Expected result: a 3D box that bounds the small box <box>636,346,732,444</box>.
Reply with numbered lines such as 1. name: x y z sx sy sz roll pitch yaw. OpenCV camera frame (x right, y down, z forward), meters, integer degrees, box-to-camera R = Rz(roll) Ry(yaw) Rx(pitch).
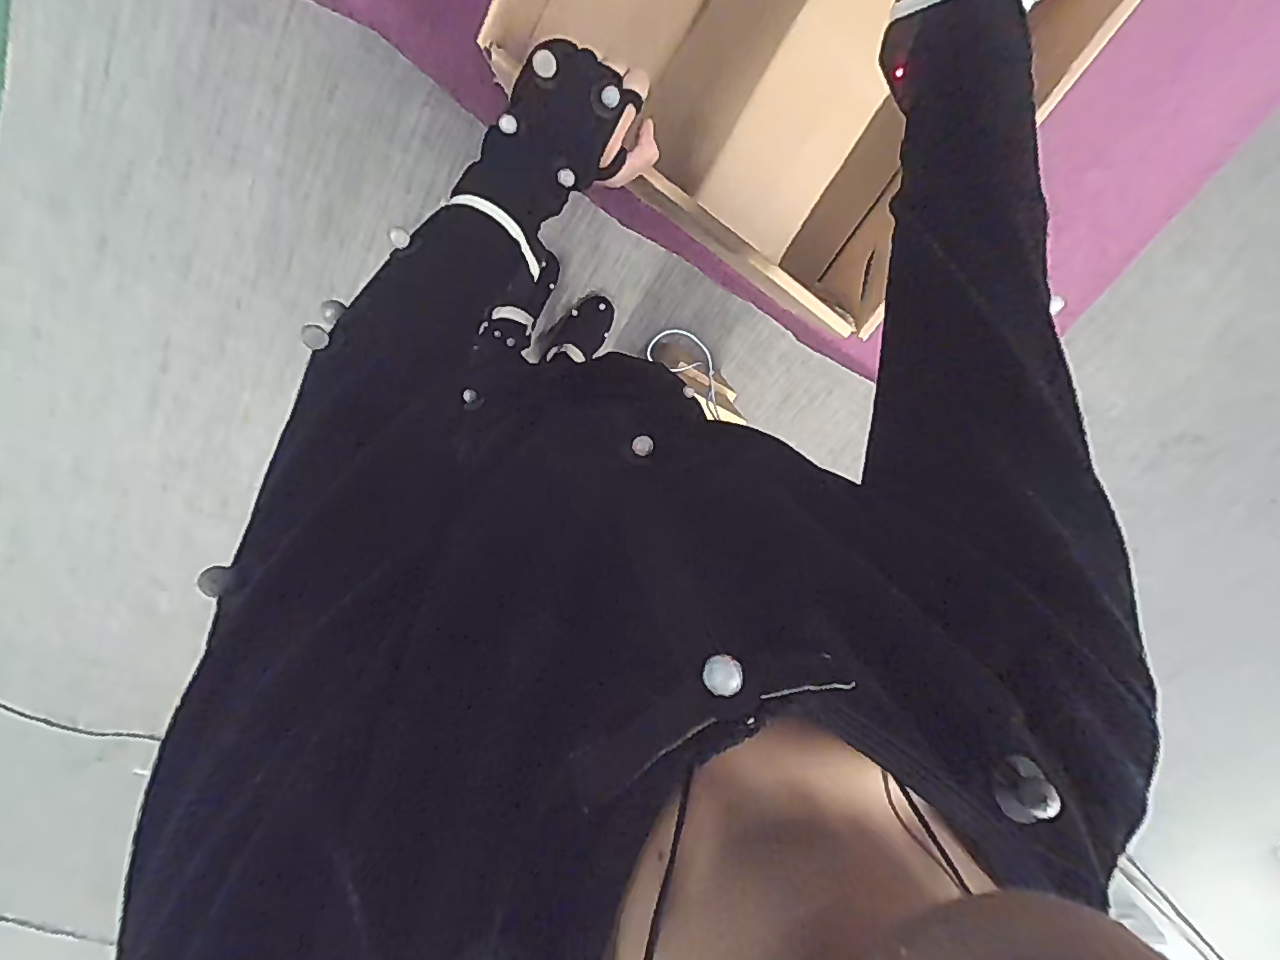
1. small box: 0.107 -0.227 1.410 0.179 0.176 0.168 26 112 -20
